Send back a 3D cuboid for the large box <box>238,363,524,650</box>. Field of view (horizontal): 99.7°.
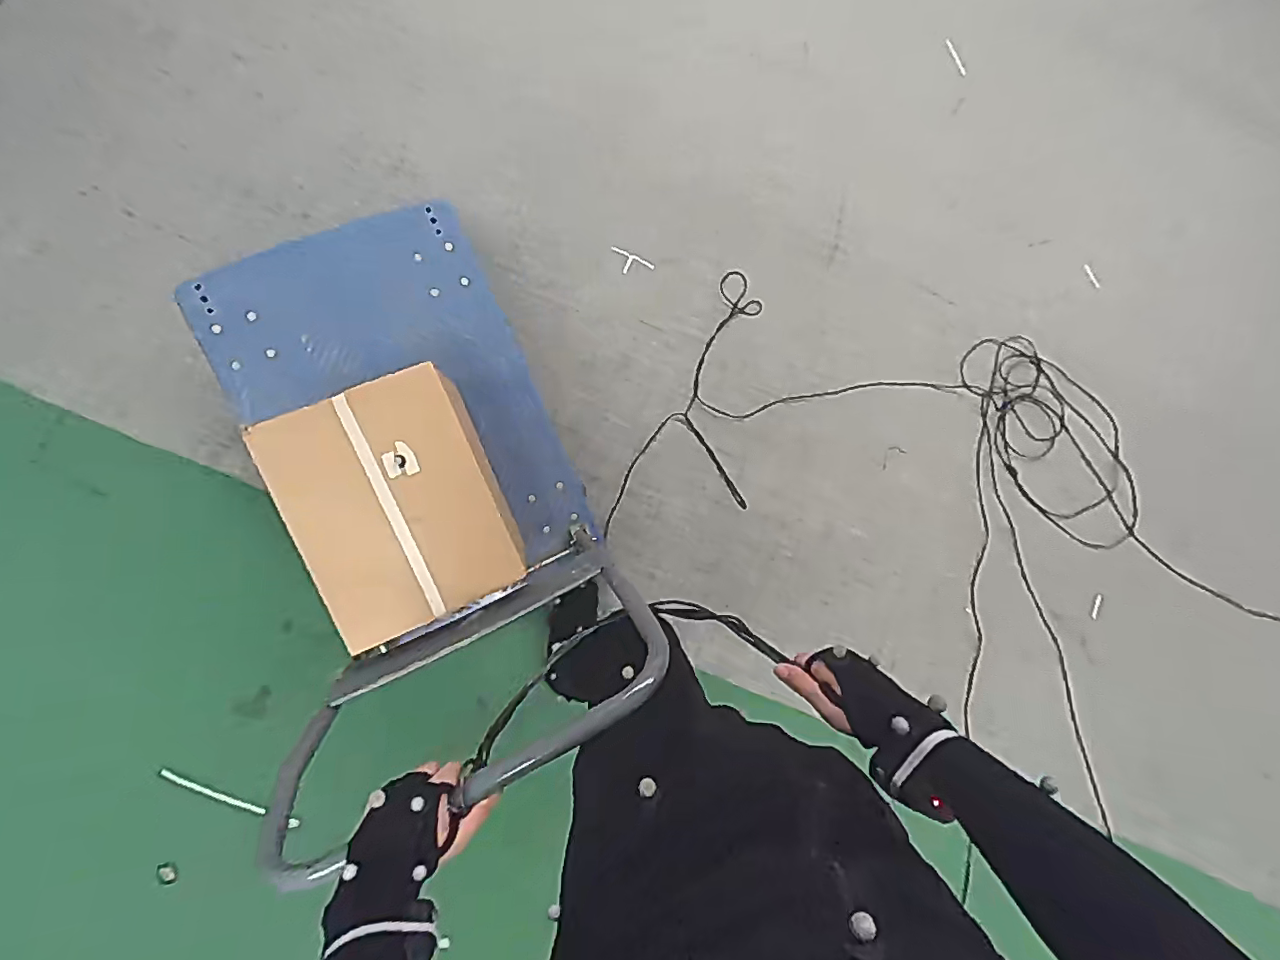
[{"bbox_3d":[-0.447,0.040,1.043,0.320,0.320,0.408,-25,97,-11],"label":"large box"}]
